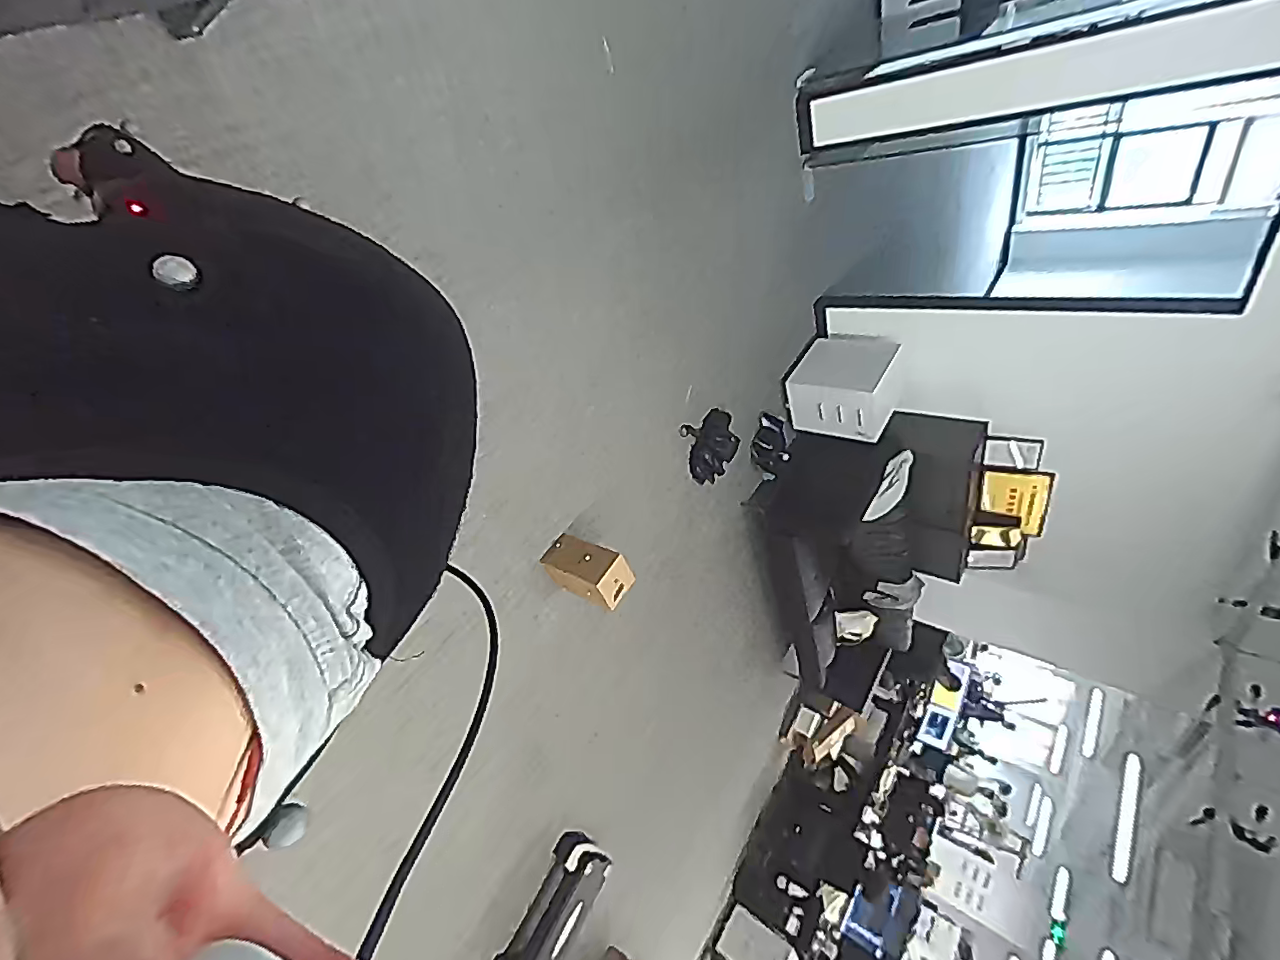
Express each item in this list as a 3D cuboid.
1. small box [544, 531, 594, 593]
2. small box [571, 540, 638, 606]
[{"bbox_3d":[-0.267,0.337,2.253,0.168,0.176,0.179,-52,136,-29],"label":"small box"},{"bbox_3d":[-0.141,0.364,2.151,0.168,0.176,0.179,-52,137,-29],"label":"small box"}]
